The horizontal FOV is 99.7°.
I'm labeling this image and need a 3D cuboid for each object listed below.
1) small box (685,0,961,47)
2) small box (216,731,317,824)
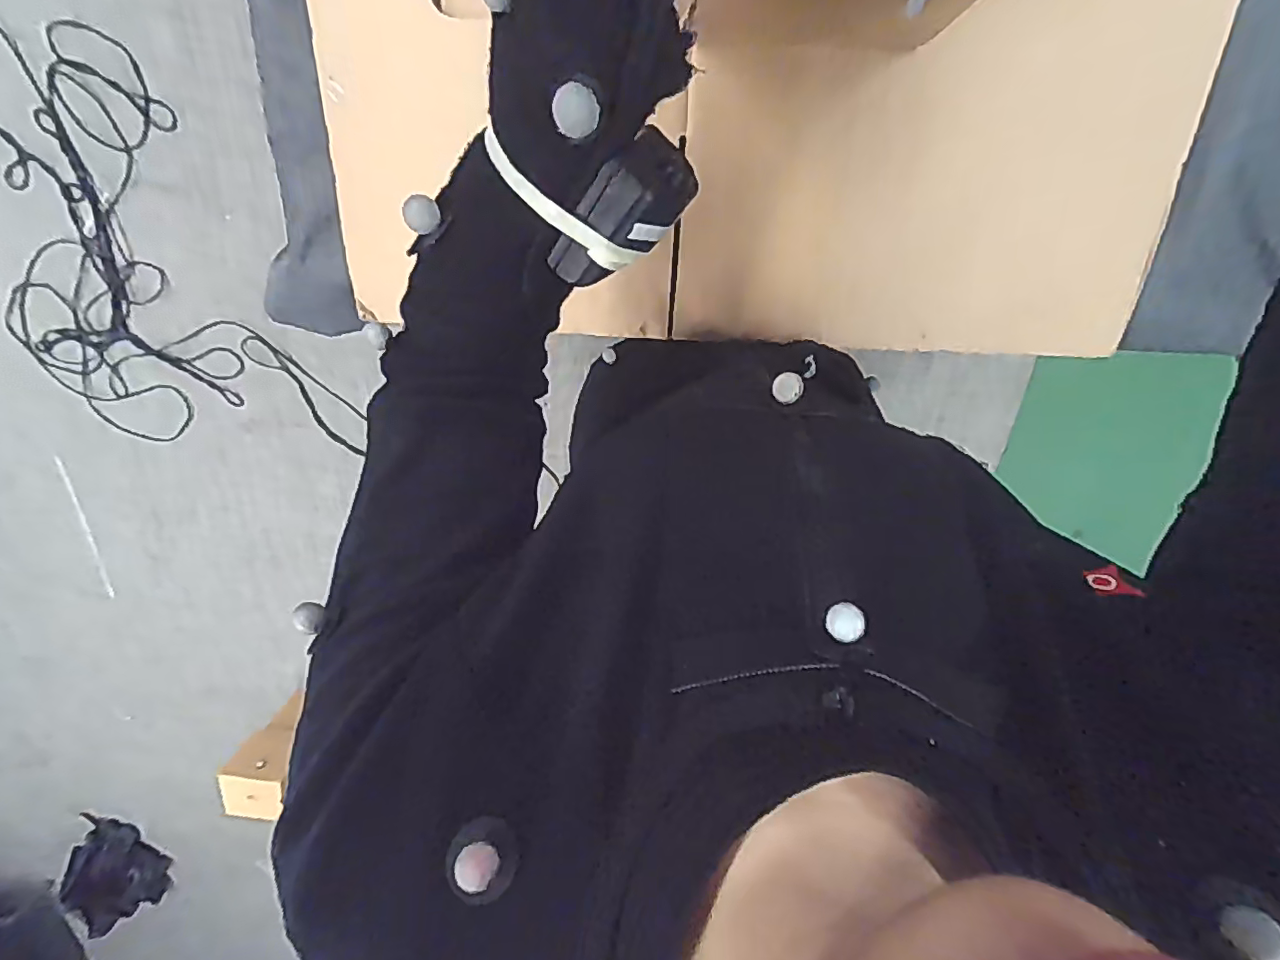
[{"bbox_3d":[0.119,-0.363,0.288,0.179,0.176,0.168,2,110,2],"label":"small box"},{"bbox_3d":[-1.090,0.869,1.592,0.179,0.176,0.168,8,113,-1],"label":"small box"}]
